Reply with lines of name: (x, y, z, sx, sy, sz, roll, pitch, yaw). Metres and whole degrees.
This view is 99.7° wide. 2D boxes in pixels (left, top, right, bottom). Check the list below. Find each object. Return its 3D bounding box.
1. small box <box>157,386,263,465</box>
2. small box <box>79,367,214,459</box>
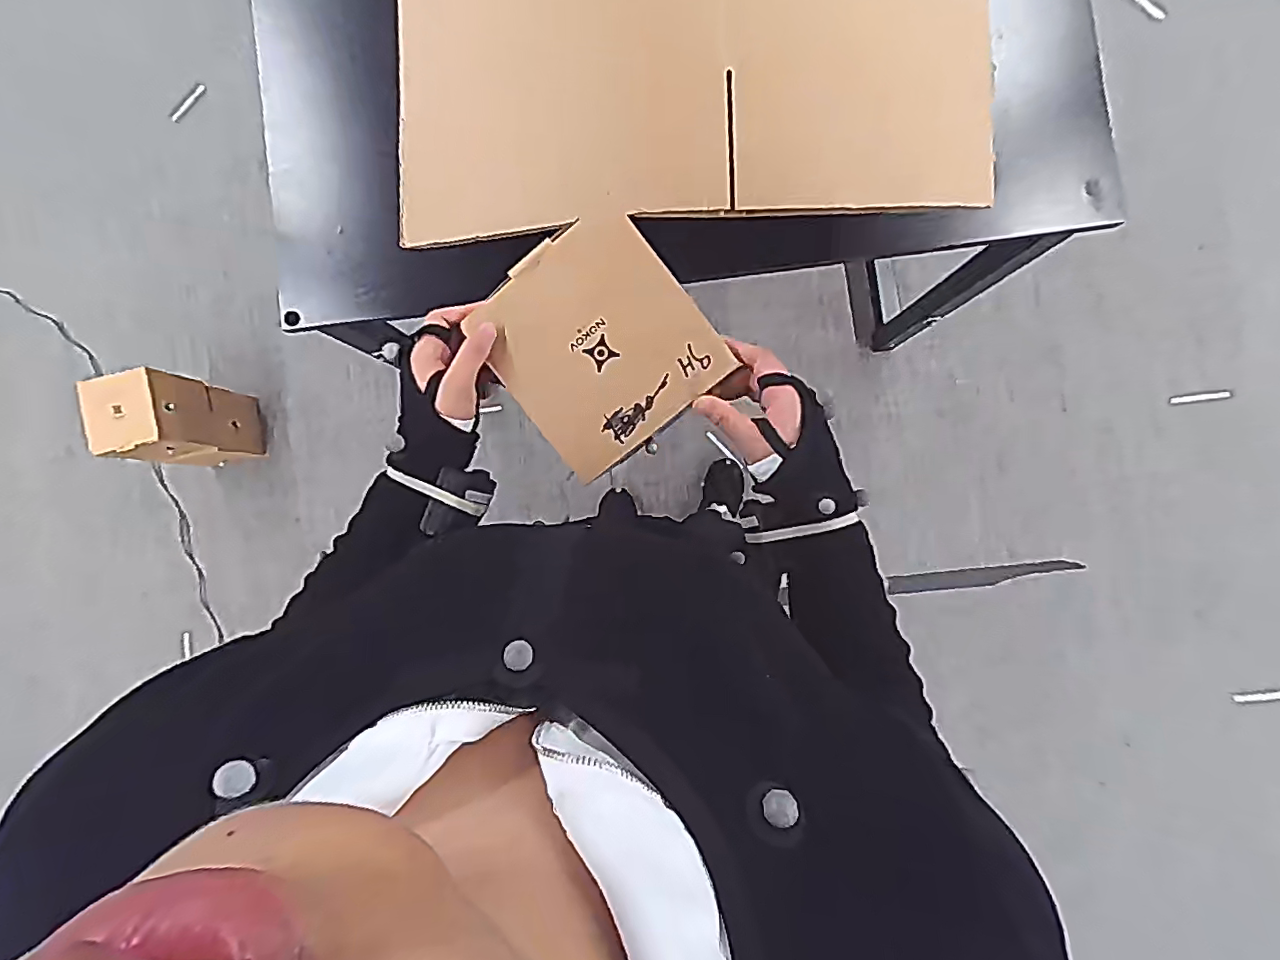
small box: (-1.170, -0.142, 1.467, 0.168, 0.176, 0.179, -11, 89, 2)
small box: (-1.179, -0.152, 1.306, 0.168, 0.176, 0.179, -14, 87, 1)
